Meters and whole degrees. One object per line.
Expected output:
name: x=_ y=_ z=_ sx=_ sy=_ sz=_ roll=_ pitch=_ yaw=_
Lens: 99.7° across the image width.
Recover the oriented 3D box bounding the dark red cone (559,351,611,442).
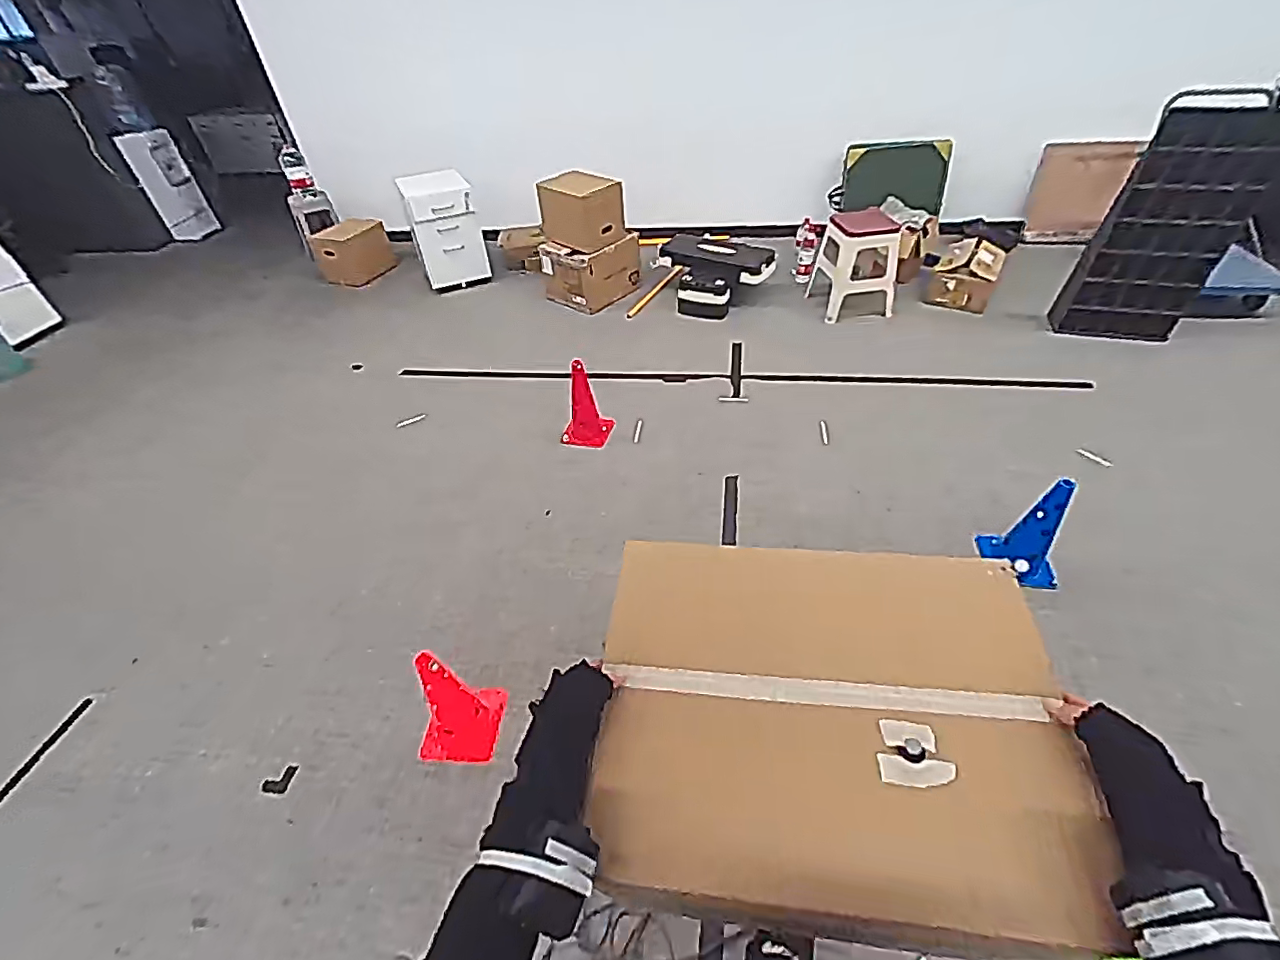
dark red cone: x=-0.247 y=-0.357 z=2.269 sx=0.201 sy=0.394 sz=0.202 roll=8 pitch=45 yaw=11

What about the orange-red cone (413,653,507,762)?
orange-red cone: x=-0.490 y=0.542 z=1.362 sx=0.198 sy=0.360 sz=0.199 roll=0 pitch=45 yaw=7

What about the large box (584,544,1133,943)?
large box: x=0.176 y=0.291 z=0.608 sx=0.408 sy=0.320 sz=0.320 roll=2 pitch=49 yaw=8

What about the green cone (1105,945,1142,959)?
green cone: x=0.925 y=0.887 z=0.868 sx=0.202 sy=0.368 sz=0.200 roll=-22 pitch=46 yaw=-20

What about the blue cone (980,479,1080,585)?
blue cone: x=1.228 y=0.142 z=1.664 sx=0.192 sy=0.380 sz=0.193 roll=6 pitch=44 yaw=9
